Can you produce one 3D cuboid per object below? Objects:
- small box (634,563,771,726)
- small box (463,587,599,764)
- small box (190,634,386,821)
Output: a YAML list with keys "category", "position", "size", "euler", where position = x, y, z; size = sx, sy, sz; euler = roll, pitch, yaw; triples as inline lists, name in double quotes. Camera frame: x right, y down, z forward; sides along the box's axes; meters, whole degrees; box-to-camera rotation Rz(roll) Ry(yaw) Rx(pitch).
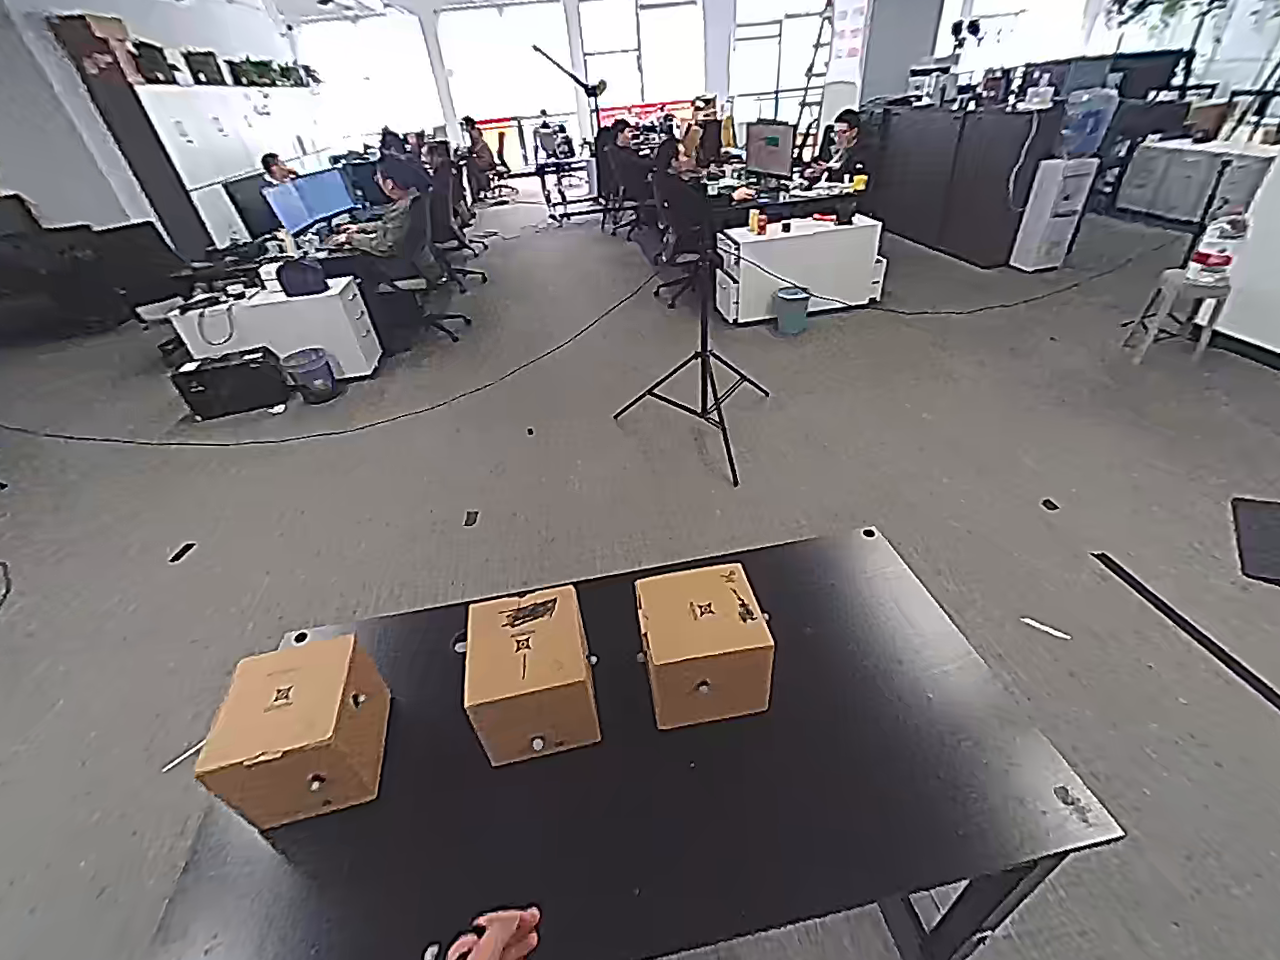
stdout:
- category: "small box"
  position: [0.095, 0.258, 0.846]
  size: [0.179, 0.176, 0.168]
  euler: [-9, 36, -4]
- category: "small box"
  position: [-0.162, 0.296, 0.827]
  size: [0.168, 0.176, 0.179]
  euler: [-10, 37, -6]
- category: "small box"
  position: [-0.485, 0.360, 0.782]
  size: [0.168, 0.176, 0.179]
  euler: [-11, 36, -10]
